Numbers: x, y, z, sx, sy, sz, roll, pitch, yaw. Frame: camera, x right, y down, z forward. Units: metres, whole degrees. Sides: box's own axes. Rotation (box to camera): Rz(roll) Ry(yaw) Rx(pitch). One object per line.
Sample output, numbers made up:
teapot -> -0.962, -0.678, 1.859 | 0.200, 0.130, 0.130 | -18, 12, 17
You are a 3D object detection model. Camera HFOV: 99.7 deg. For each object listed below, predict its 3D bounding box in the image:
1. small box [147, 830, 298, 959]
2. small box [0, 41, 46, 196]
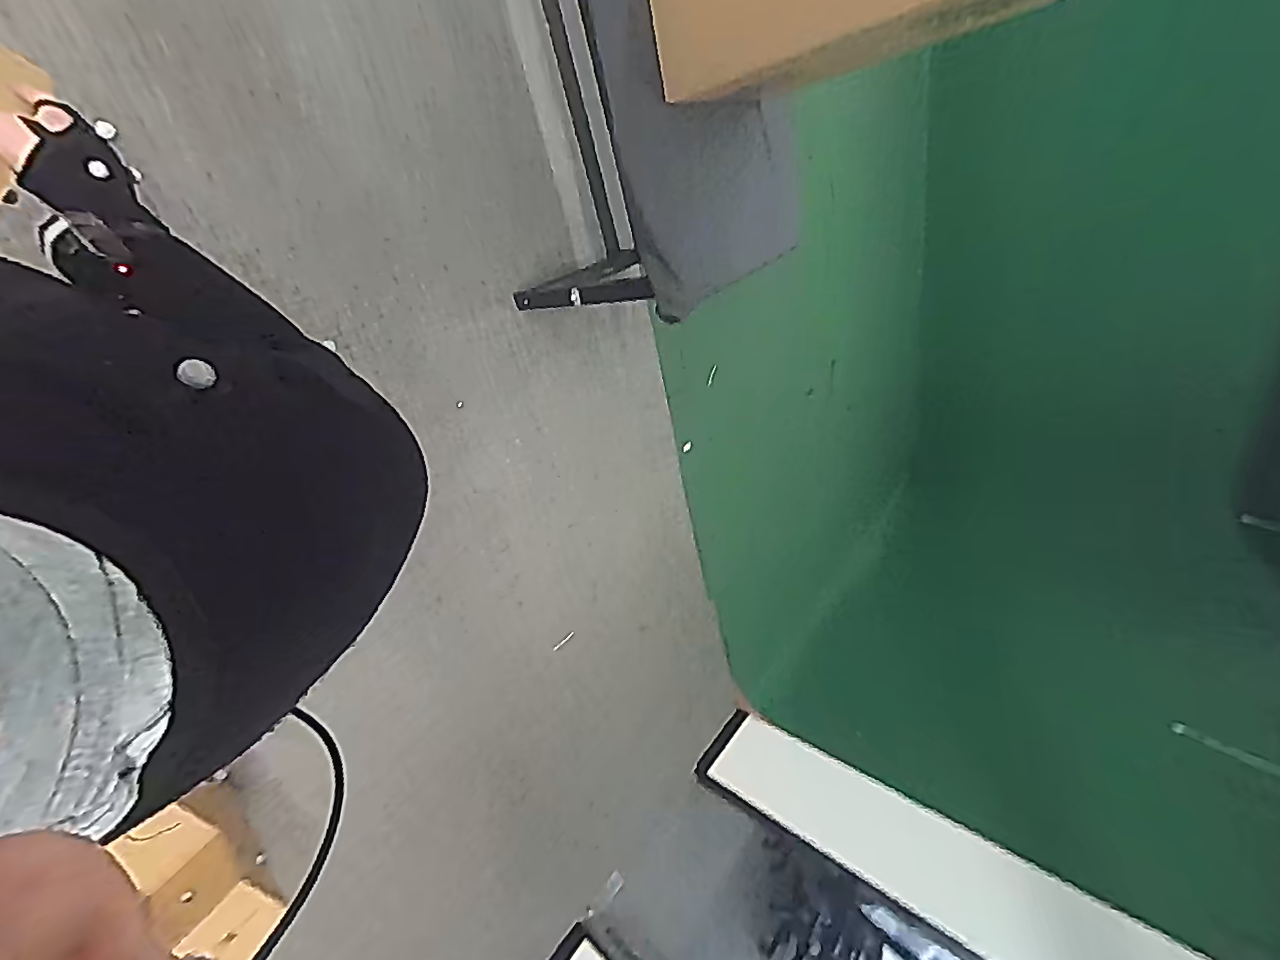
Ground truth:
small box -> -0.850, 0.869, 1.098 | 0.179, 0.176, 0.168 | -45, 129, -34
small box -> -0.668, -0.331, 0.470 | 0.179, 0.176, 0.168 | -44, 148, 10
